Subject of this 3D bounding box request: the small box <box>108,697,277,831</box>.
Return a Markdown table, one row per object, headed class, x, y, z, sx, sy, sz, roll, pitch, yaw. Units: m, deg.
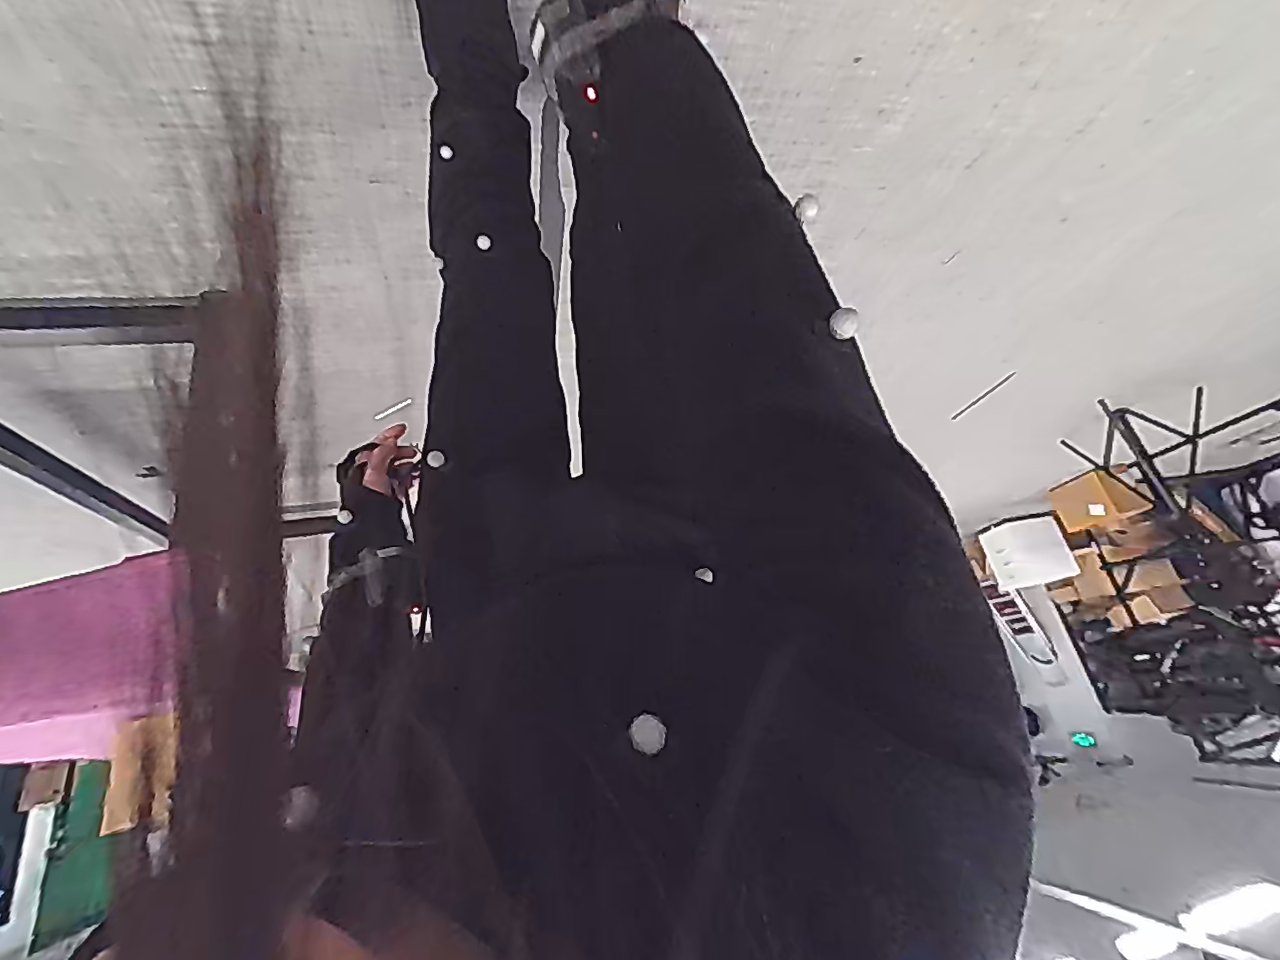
| class | x | y | z | sx | sy | sz | roll | pitch | yaw |
| --- | --- | --- | --- | --- | --- | --- | --- | --- | --- |
| small box | -0.768 | 0.486 | 0.951 | 0.179 | 0.176 | 0.168 | -6 | 158 | -13 |
